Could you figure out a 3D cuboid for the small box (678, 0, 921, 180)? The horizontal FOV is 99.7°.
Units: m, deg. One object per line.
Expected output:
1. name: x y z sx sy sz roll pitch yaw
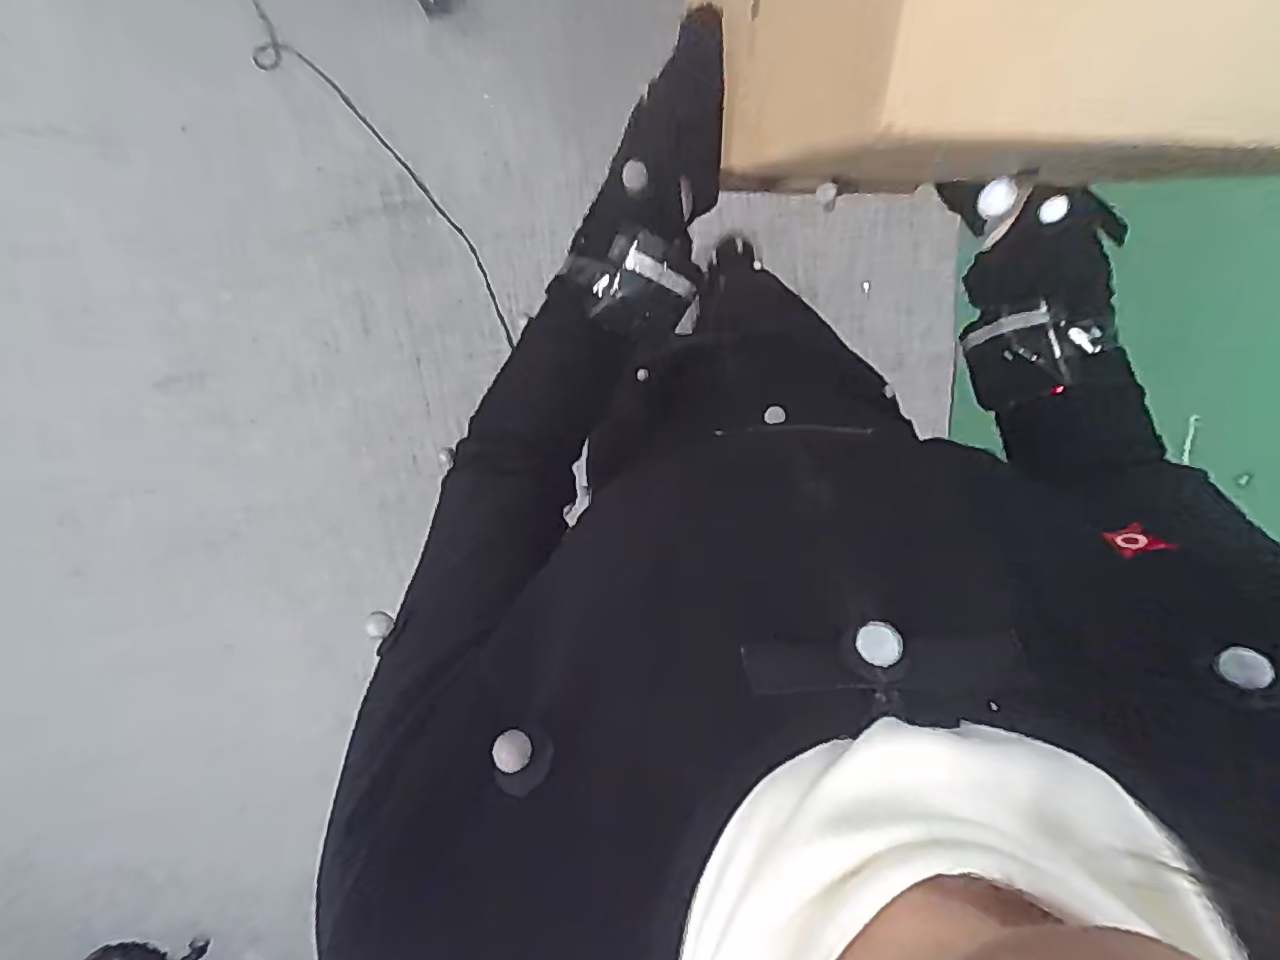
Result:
1. small box: 0.129 -0.349 0.451 0.179 0.176 0.168 0 117 -1
